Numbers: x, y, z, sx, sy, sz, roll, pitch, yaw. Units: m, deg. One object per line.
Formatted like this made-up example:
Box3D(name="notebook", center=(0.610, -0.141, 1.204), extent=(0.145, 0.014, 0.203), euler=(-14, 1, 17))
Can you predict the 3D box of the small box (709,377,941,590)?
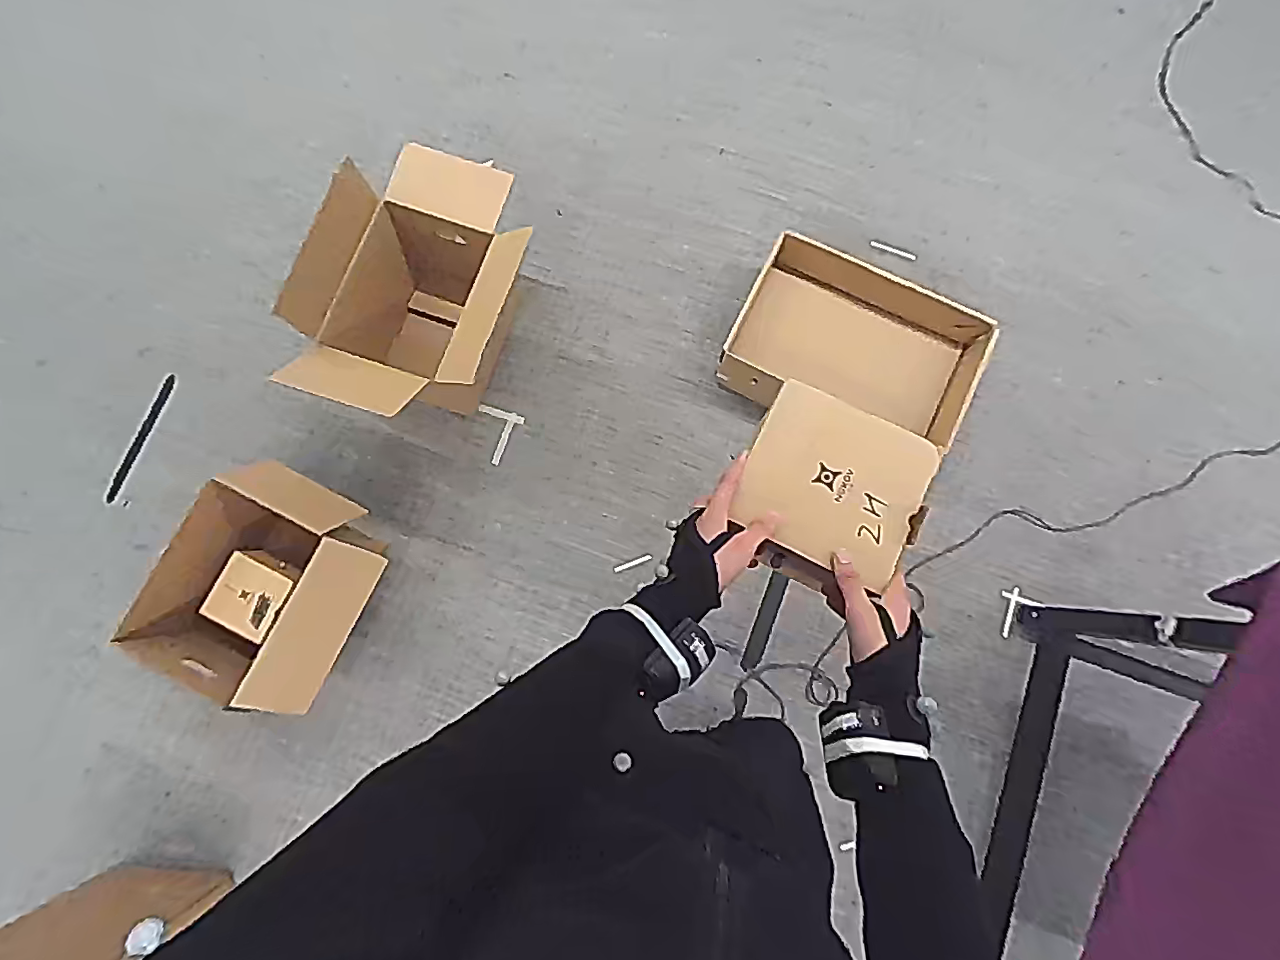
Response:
Box3D(name="small box", center=(0.191, 0.016, 0.613), extent=(0.179, 0.176, 0.168), euler=(26, 81, 7))
